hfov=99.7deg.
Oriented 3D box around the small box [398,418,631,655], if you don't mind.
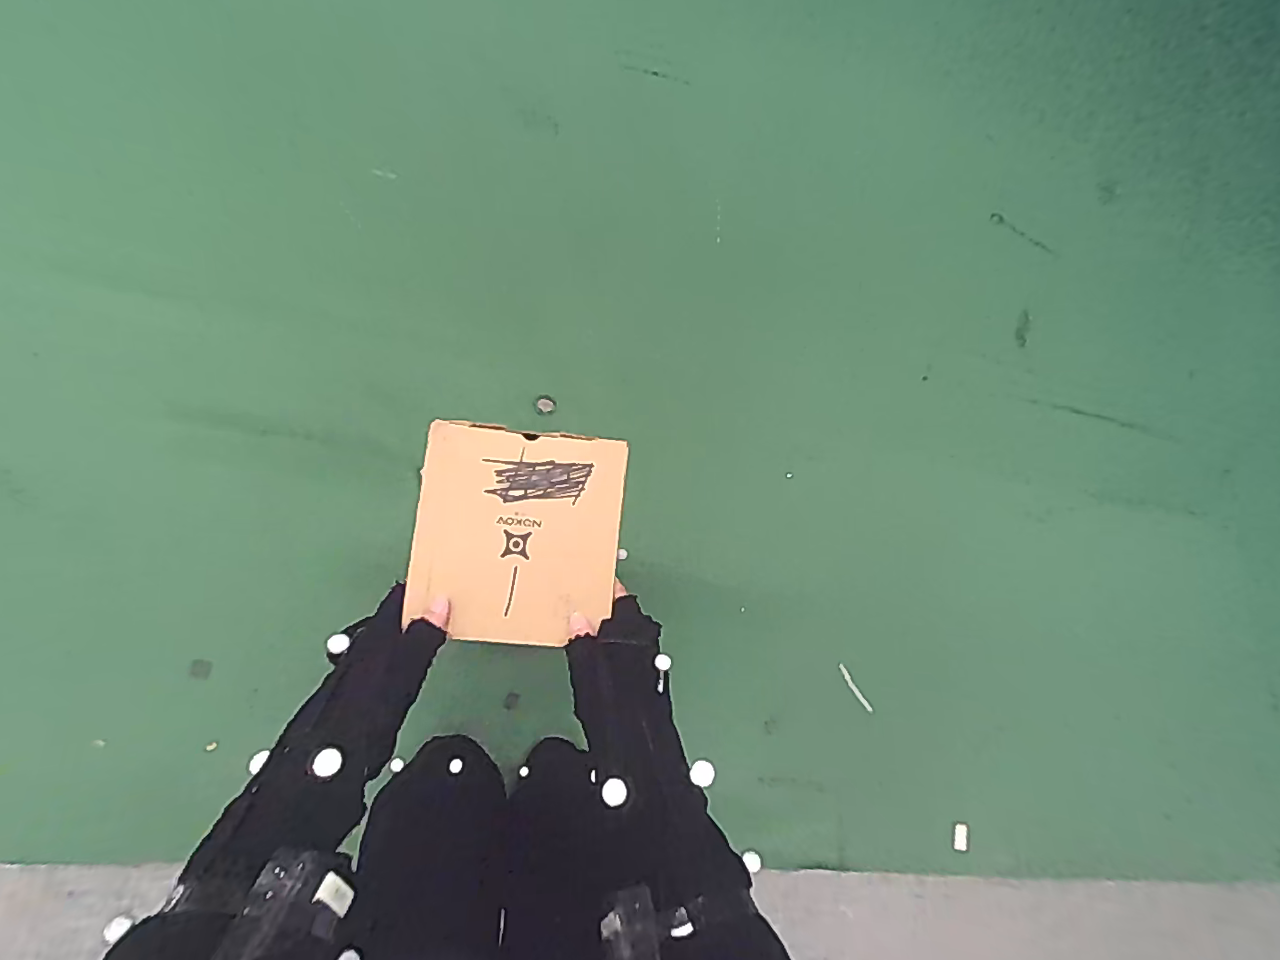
[{"bbox_3d":[-0.105,0.055,0.507,0.168,0.176,0.179,6,82,-6],"label":"small box"}]
